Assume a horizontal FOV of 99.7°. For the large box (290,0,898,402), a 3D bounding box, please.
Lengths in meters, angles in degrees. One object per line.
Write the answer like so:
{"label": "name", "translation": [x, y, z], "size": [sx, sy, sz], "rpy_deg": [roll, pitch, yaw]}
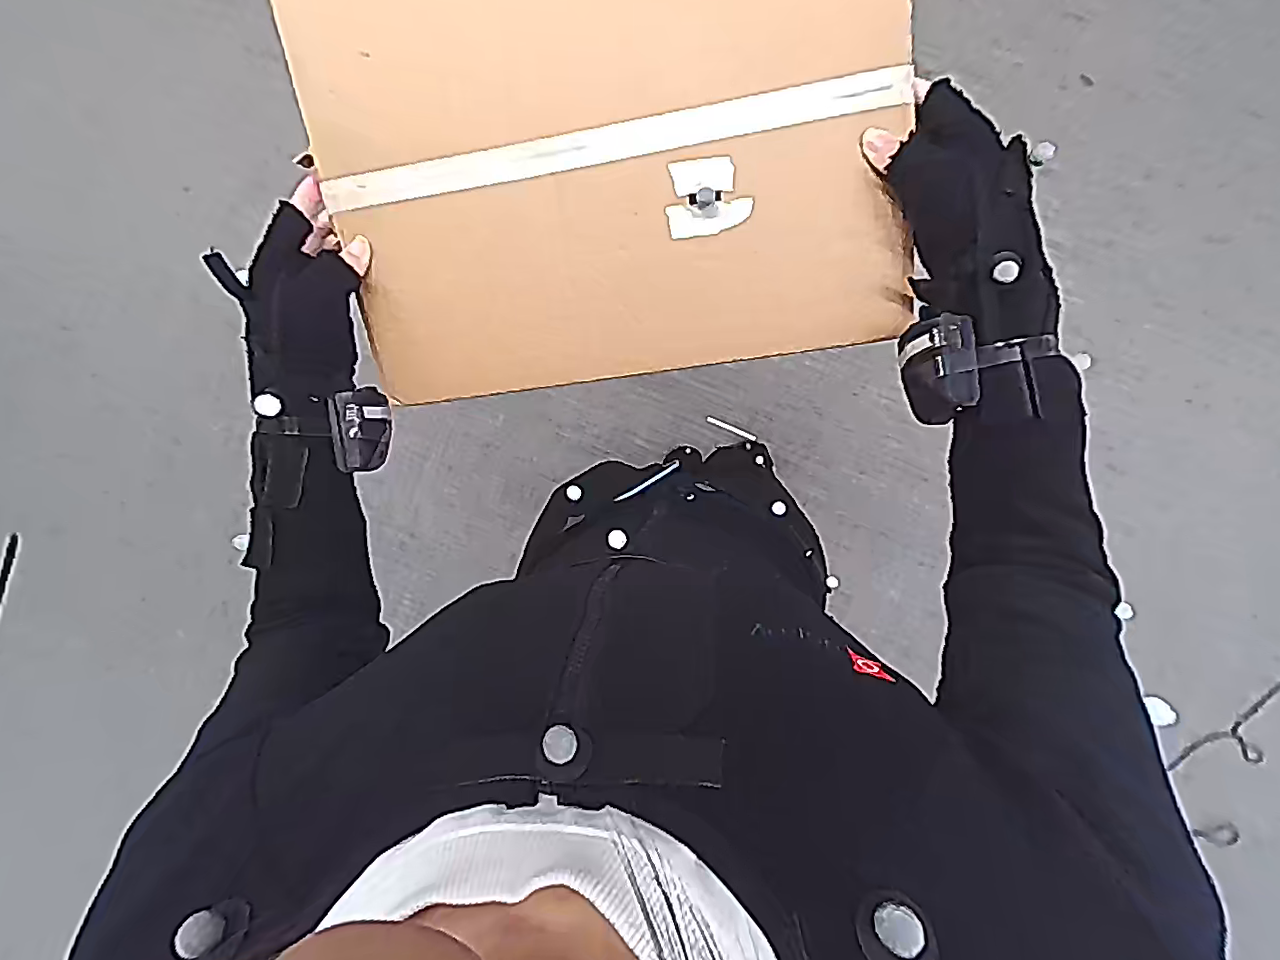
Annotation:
{"label": "large box", "translation": [-0.017, -0.280, 0.528], "size": [0.408, 0.320, 0.320], "rpy_deg": [-8, 108, 7]}
